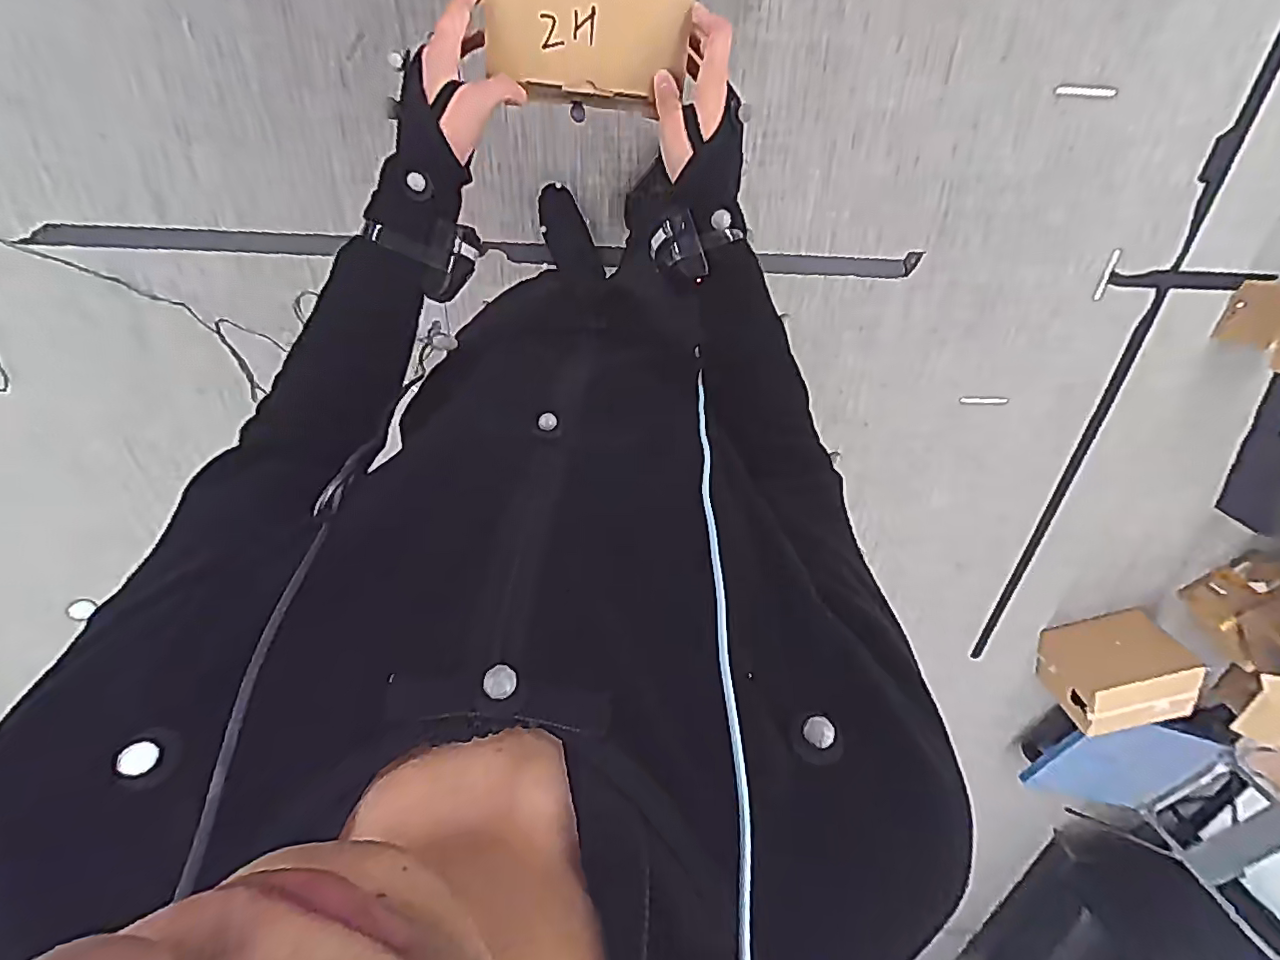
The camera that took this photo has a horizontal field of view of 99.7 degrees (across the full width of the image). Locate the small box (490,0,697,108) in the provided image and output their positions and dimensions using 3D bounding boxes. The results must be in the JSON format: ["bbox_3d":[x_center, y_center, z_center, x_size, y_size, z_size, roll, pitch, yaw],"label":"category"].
[{"bbox_3d":[-0.045,-0.447,0.476,0.168,0.176,0.179,0,122,-10],"label":"small box"}]

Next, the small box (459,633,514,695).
[{"bbox_3d":[-0.590,0.711,2.103,0.179,0.176,0.168,-1,122,-3],"label":"small box"}]
